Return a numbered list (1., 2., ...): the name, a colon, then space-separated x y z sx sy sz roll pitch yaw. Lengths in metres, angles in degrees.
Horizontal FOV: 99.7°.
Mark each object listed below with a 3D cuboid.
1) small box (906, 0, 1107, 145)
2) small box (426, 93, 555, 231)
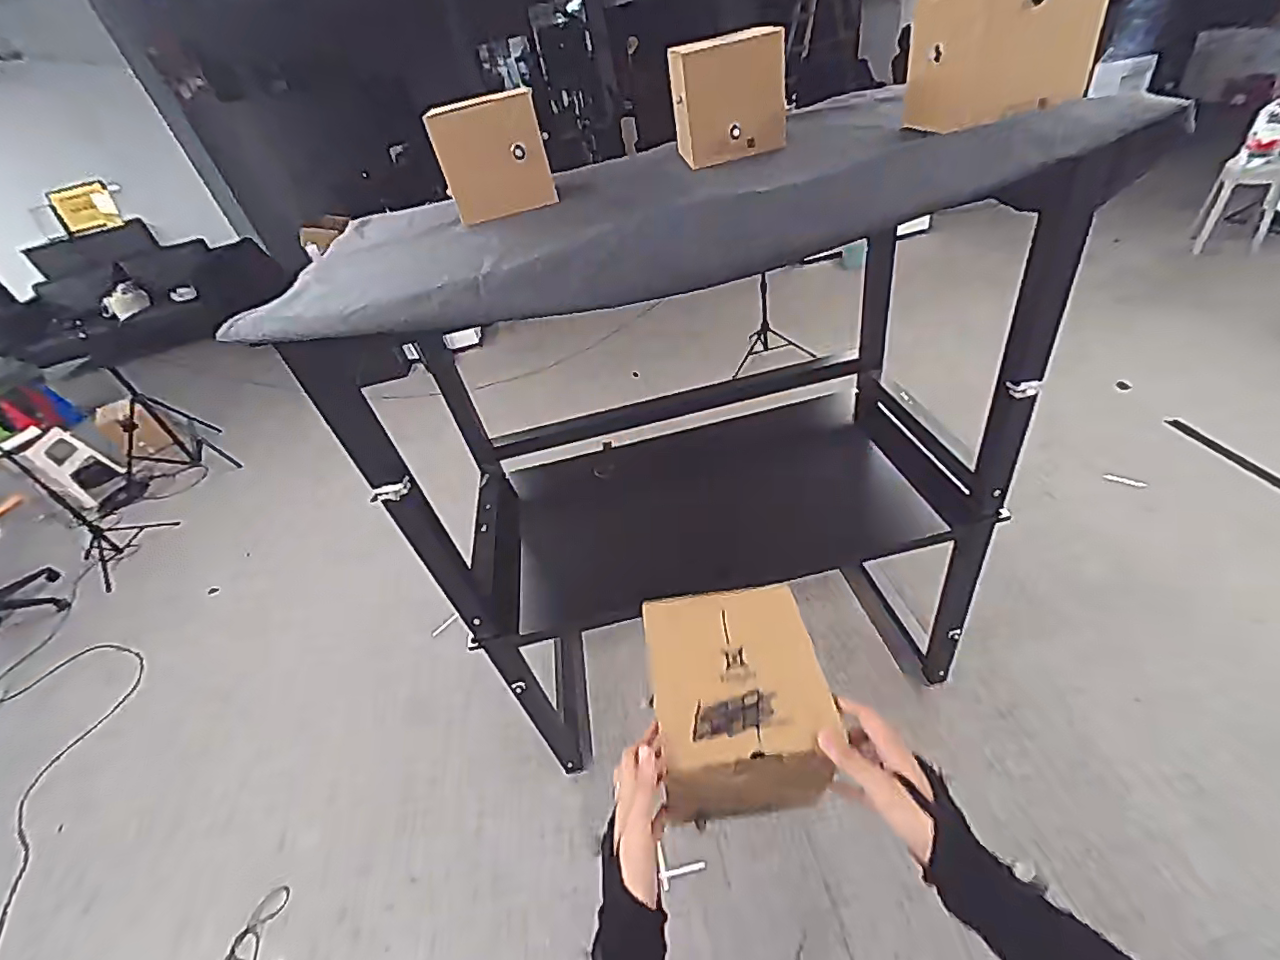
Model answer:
1. small box: 0.508 -0.599 0.779 0.168 0.176 0.179 -15 38 0
2. small box: -0.256 -0.566 0.963 0.179 0.176 0.168 -16 39 -3
